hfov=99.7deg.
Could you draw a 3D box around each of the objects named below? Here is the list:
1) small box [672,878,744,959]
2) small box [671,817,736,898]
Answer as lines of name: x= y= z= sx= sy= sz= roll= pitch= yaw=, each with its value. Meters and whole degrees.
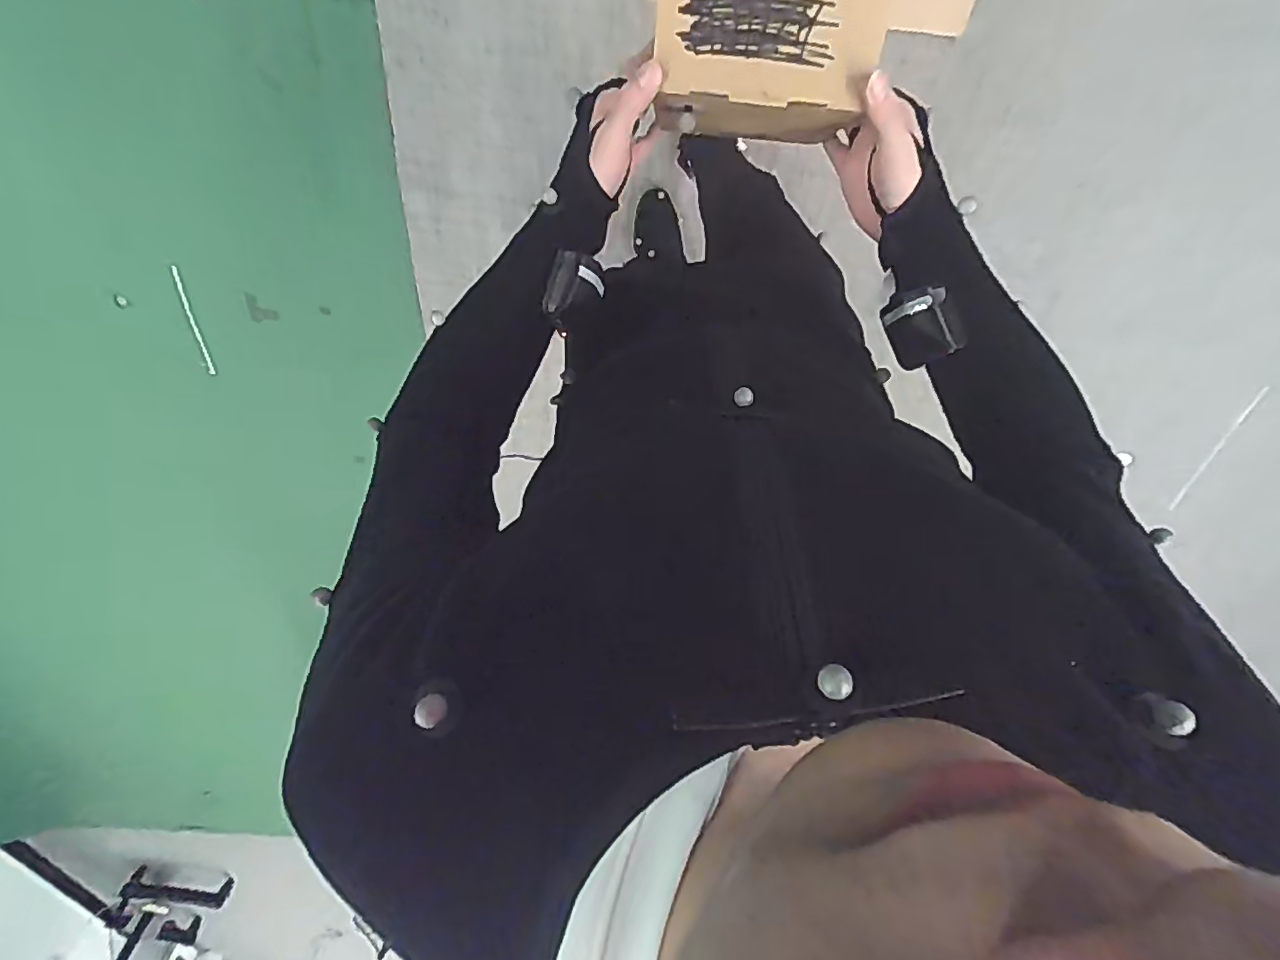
small box: x=0.185 y=1.258 z=1.533 sx=0.179 sy=0.176 sz=0.168 roll=4 pitch=124 yaw=-1
small box: x=0.189 y=1.168 z=1.667 sx=0.179 sy=0.176 sz=0.168 roll=5 pitch=125 yaw=-1
